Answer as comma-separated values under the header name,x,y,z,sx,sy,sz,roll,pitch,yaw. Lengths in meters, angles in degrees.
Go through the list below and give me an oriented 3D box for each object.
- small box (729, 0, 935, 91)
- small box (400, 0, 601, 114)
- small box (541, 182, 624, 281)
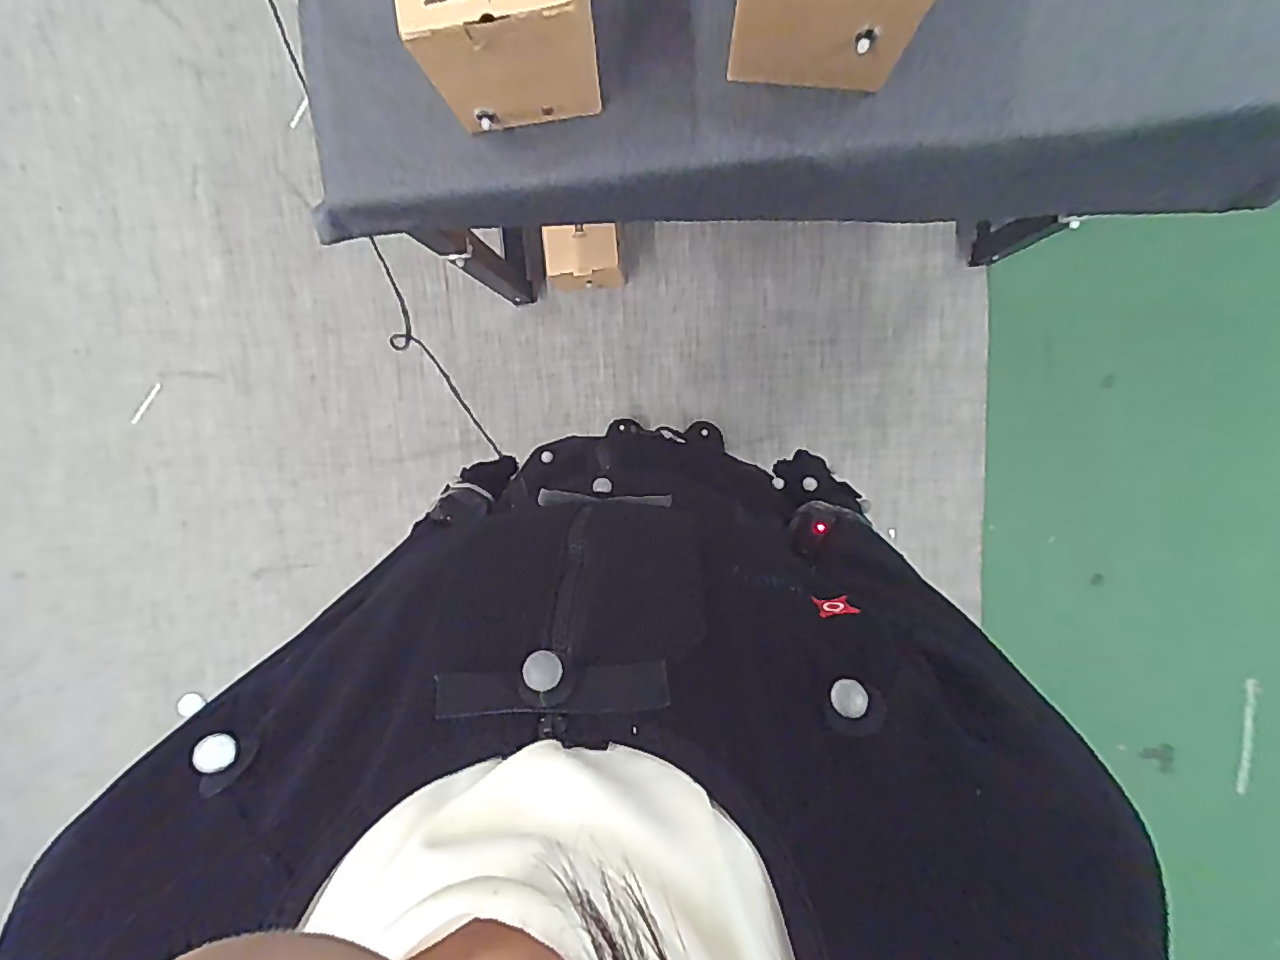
name,x,y,z,sx,sy,sz,roll,pitch,yaw
small box,0.193,-0.525,0.538,0.179,0.176,0.168,7,97,4
small box,-0.137,-0.510,0.557,0.168,0.176,0.179,-5,95,4
small box,-0.130,-0.581,1.287,0.168,0.176,0.179,-3,98,4
